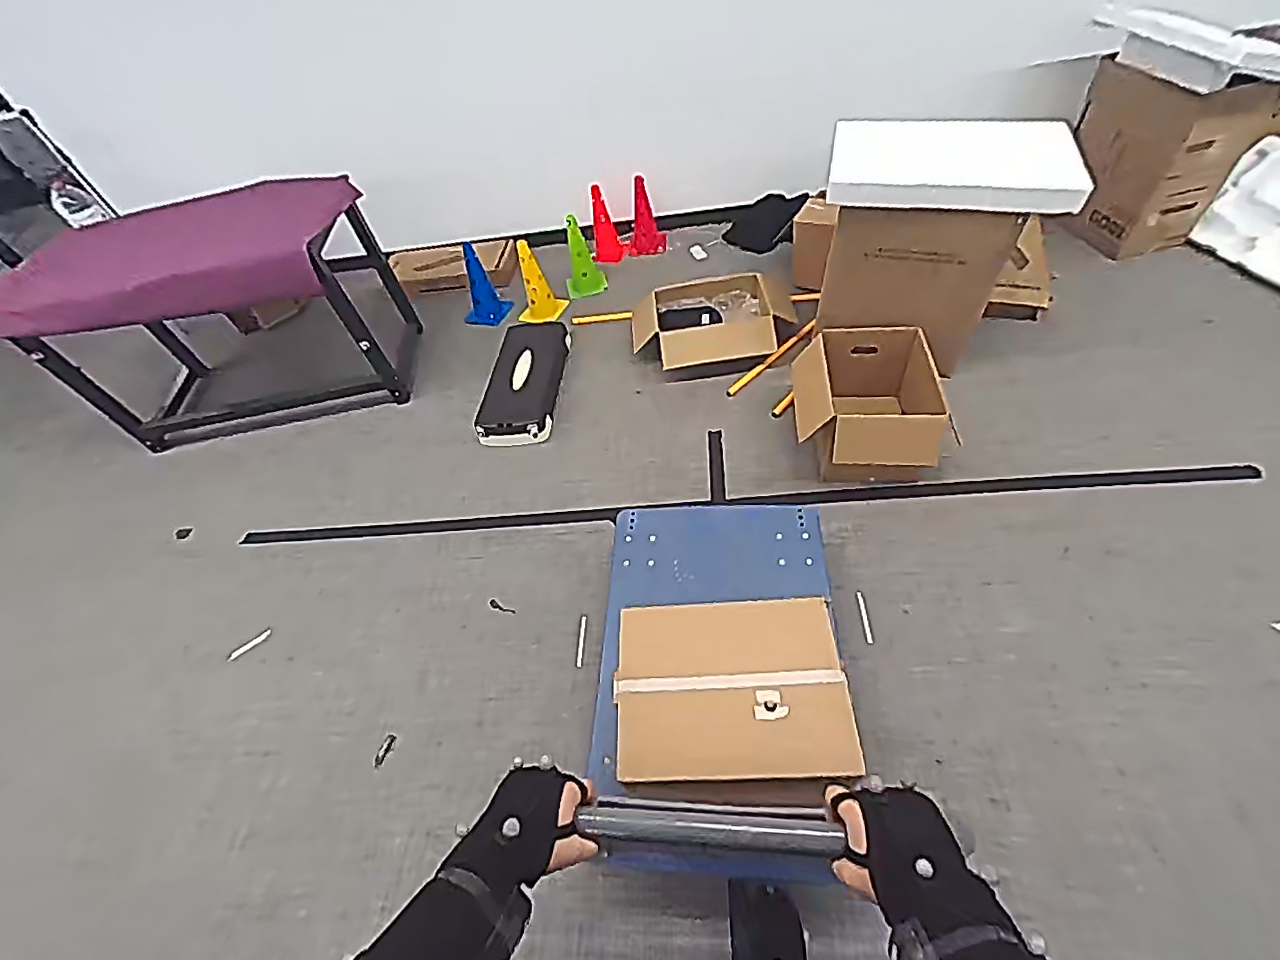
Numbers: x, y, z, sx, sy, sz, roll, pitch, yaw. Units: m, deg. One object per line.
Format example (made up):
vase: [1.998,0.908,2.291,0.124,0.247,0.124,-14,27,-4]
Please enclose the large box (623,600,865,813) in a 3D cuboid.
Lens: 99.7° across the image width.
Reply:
large box: [0.181,0.465,1.092,0.408,0.320,0.320,-4,51,5]
